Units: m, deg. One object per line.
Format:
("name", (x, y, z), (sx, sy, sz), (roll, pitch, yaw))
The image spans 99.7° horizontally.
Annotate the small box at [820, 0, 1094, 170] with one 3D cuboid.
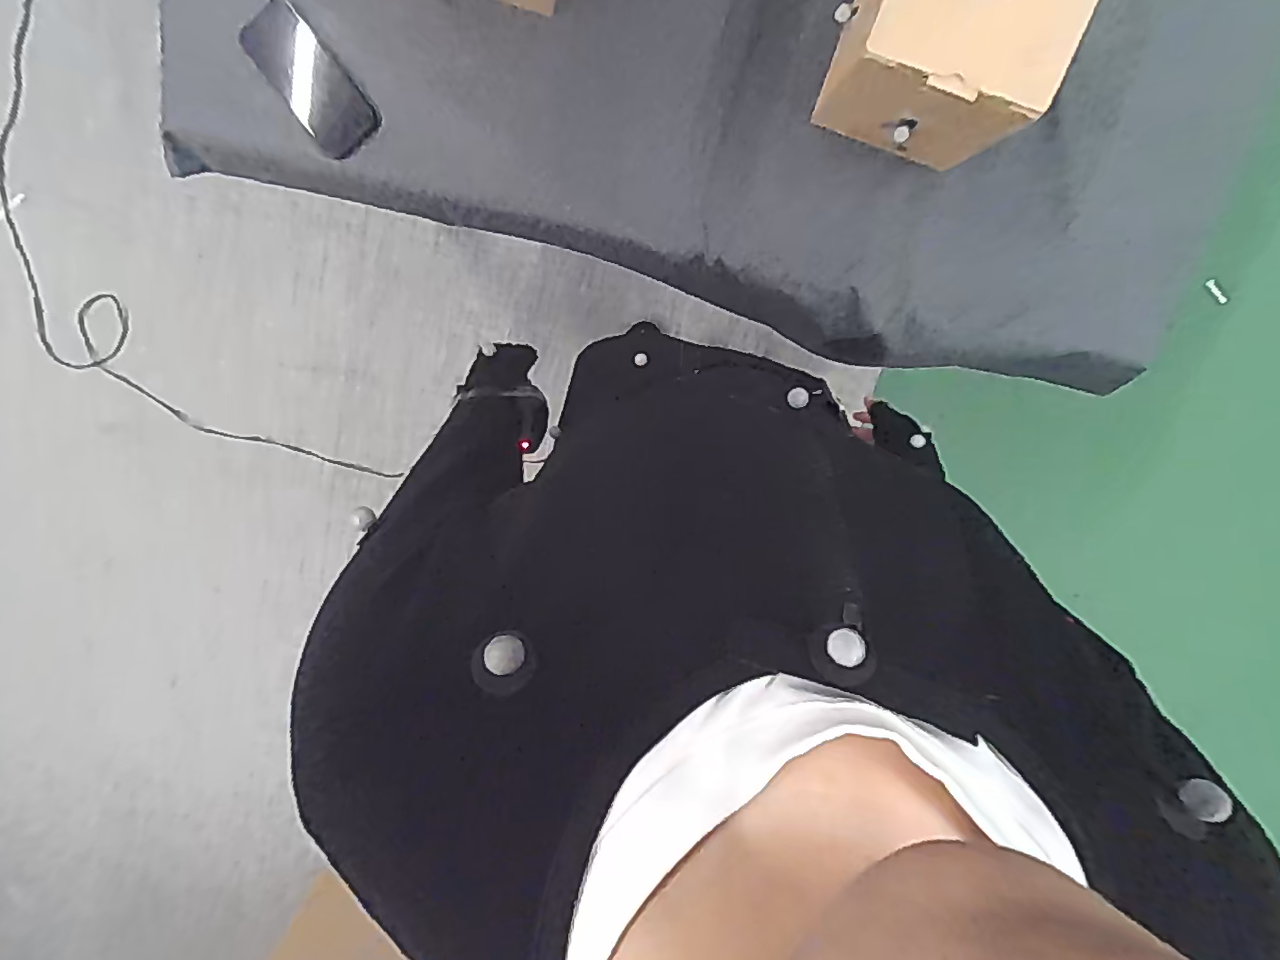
("small box", (0.289, -0.425, 0.511), (0.168, 0.176, 0.179), (18, 106, -3))
